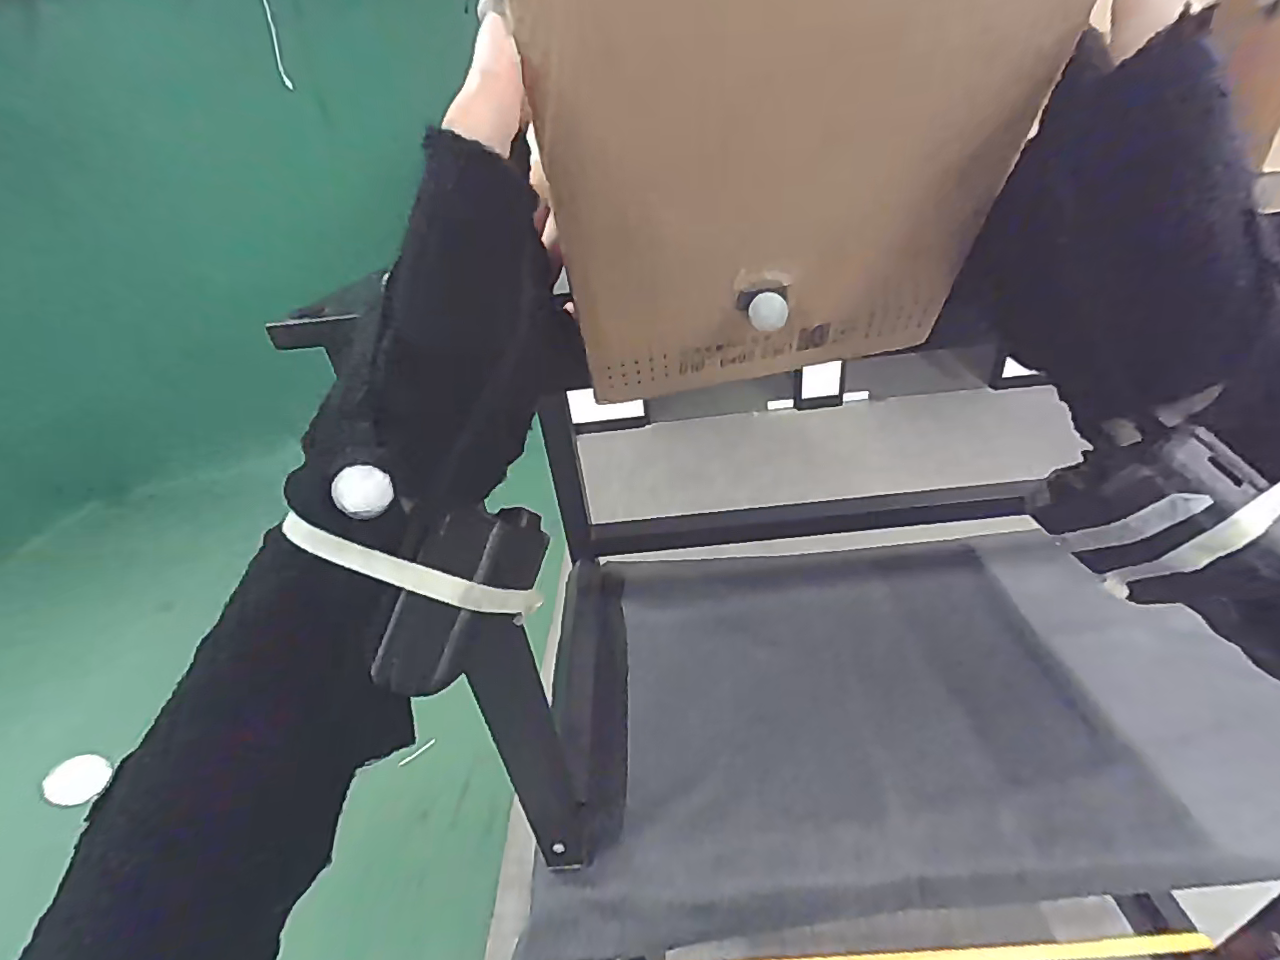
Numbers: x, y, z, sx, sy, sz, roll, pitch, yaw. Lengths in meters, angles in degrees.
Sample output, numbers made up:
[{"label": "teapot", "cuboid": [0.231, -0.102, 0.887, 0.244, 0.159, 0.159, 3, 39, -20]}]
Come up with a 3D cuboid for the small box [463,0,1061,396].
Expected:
[{"label": "small box", "cuboid": [0.028, -0.165, 0.236, 0.168, 0.176, 0.179, -11, 60, 0]}]
